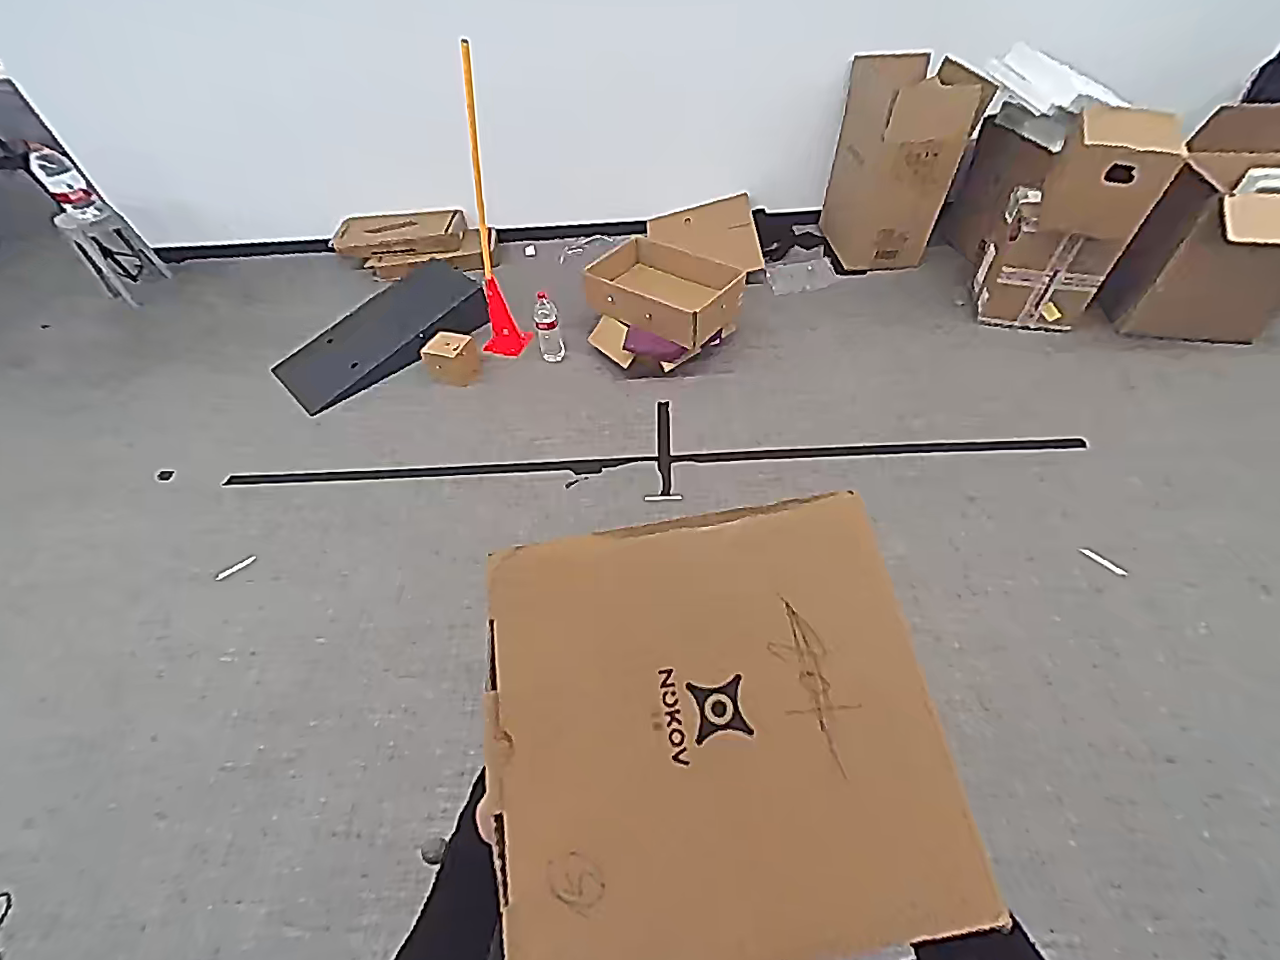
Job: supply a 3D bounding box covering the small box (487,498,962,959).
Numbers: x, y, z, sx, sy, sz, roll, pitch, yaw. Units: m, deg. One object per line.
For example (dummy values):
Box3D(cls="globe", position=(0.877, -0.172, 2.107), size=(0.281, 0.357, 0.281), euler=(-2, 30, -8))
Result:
Box3D(cls="small box", position=(0.028, 0.127, 0.304), size=(0.179, 0.176, 0.168), euler=(-10, 67, -2))
